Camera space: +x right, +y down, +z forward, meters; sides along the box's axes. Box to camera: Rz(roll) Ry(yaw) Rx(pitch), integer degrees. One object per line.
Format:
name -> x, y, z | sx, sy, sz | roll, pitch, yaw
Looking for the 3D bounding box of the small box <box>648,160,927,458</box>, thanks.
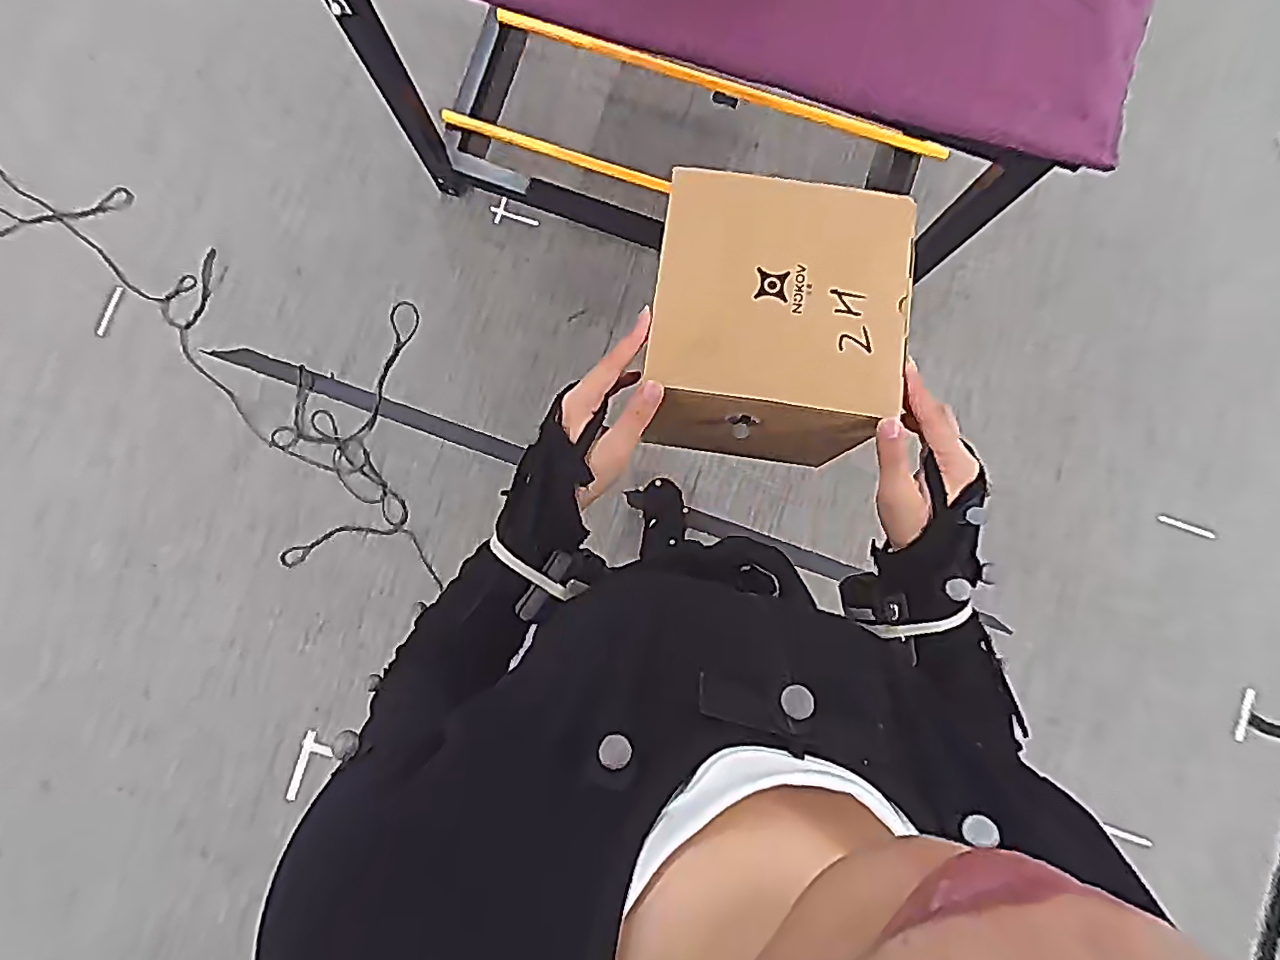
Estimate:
small box -> 0.102, -0.120, 0.443 | 0.179, 0.176, 0.168 | 8, 81, 0
